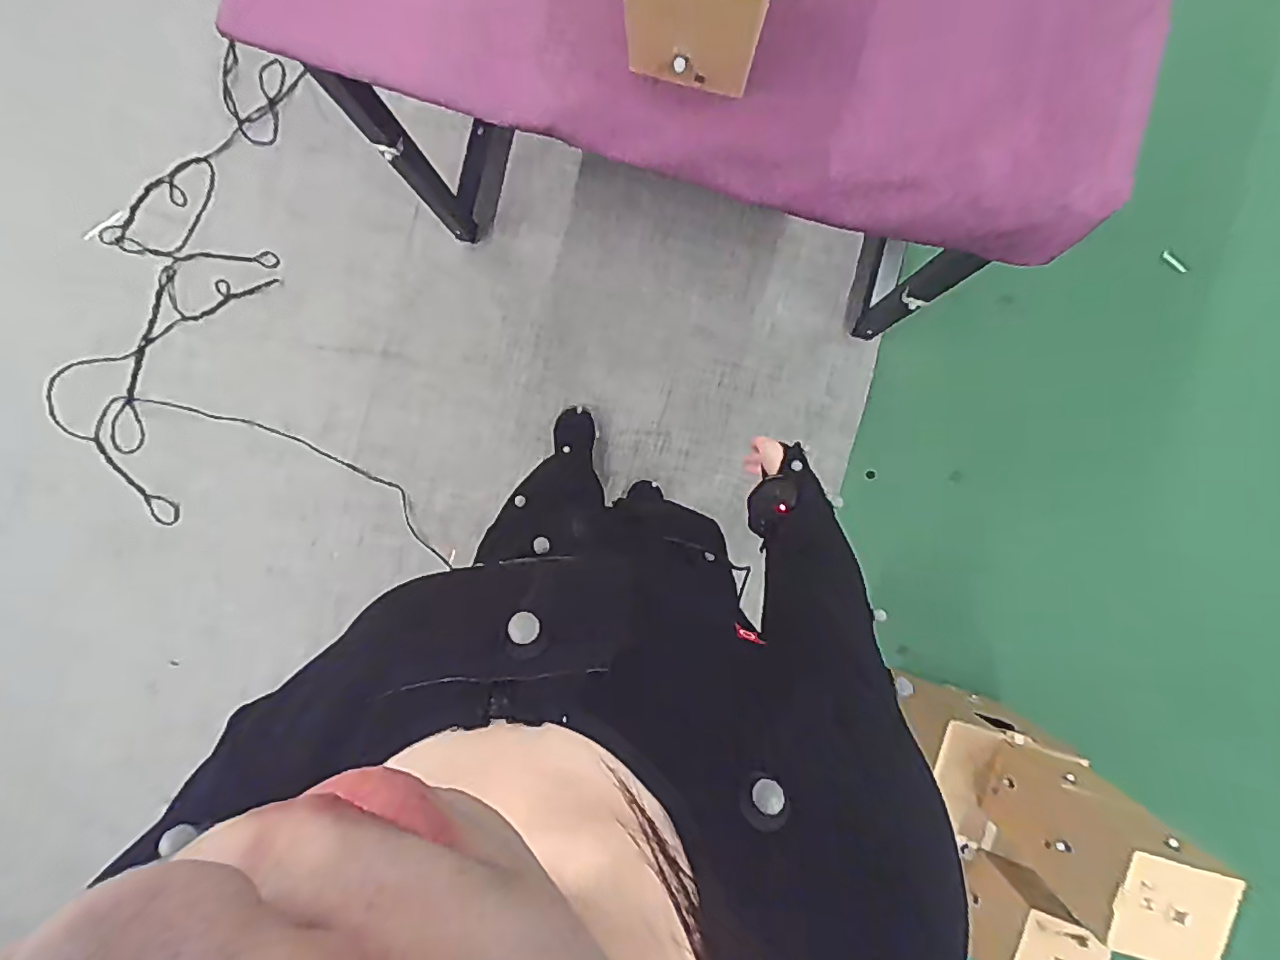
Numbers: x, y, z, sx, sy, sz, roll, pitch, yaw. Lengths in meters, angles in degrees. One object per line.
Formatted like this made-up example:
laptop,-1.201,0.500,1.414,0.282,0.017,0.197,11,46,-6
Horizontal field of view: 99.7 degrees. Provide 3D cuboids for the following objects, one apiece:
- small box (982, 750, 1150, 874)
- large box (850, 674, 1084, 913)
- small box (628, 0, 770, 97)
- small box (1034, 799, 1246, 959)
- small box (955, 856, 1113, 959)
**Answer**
small box,0.832,0.671,1.073,0.179,0.176,0.168,17,92,2
large box,0.763,0.754,1.319,0.320,0.320,0.408,16,92,3
small box,0.082,-0.628,0.664,0.168,0.176,0.179,16,92,2
small box,0.822,0.676,0.908,0.179,0.176,0.168,15,92,2
small box,0.767,0.911,1.076,0.168,0.176,0.179,22,91,1
